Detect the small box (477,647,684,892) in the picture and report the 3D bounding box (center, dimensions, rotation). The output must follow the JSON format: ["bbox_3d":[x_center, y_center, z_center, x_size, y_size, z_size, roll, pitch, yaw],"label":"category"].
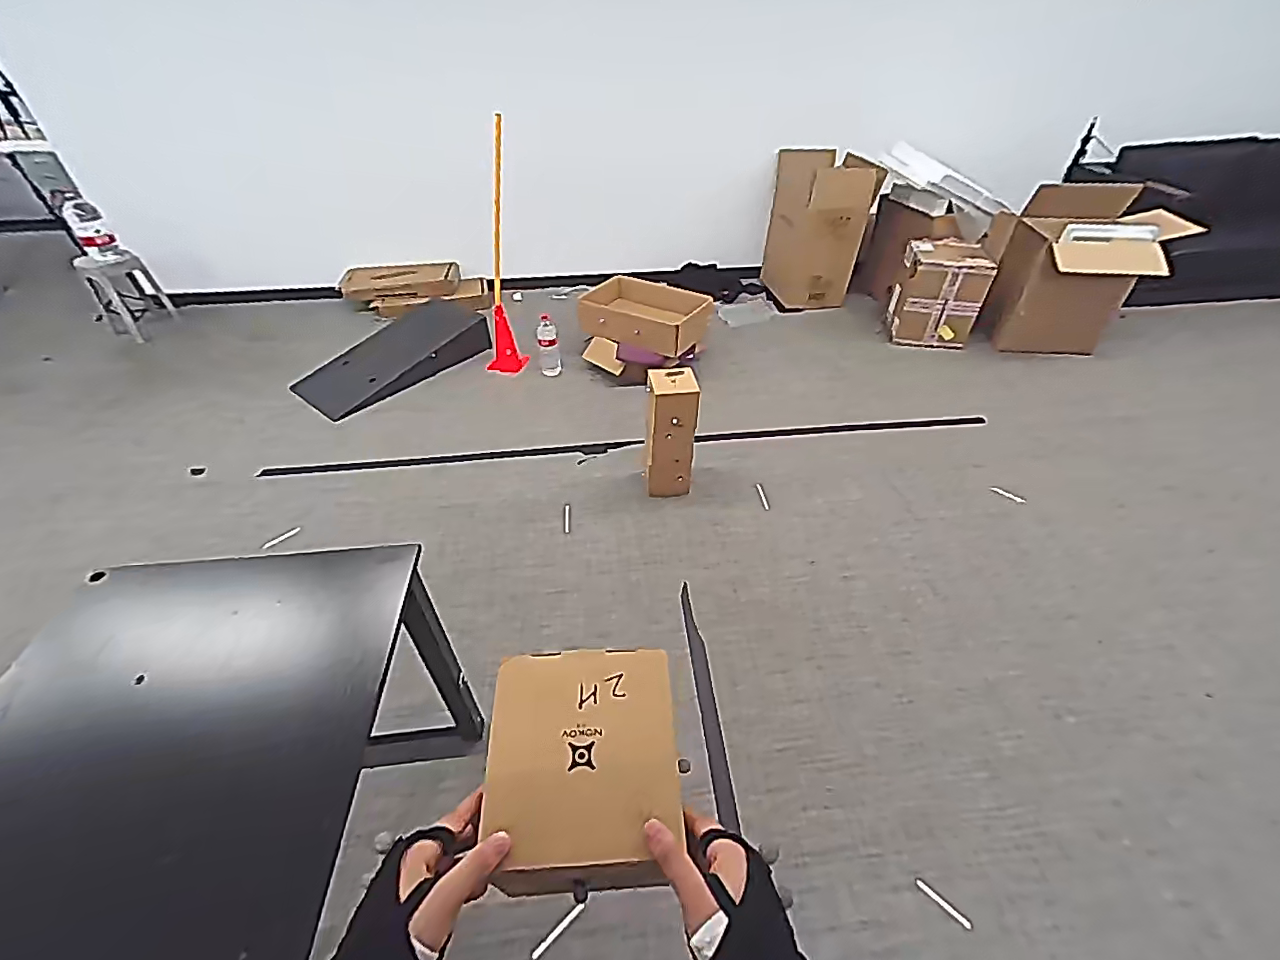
[{"bbox_3d":[-0.050,0.287,0.532,0.168,0.176,0.179,-3,46,-3],"label":"small box"}]

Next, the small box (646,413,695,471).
[{"bbox_3d":[0.115,-0.157,2.139,0.168,0.176,0.179,-5,40,-6],"label":"small box"}]

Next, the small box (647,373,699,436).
[{"bbox_3d":[0.118,-0.284,2.032,0.168,0.176,0.179,-5,41,-6],"label":"small box"}]

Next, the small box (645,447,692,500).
[{"bbox_3d":[0.115,-0.033,2.246,0.179,0.176,0.168,-5,40,-4],"label":"small box"}]
